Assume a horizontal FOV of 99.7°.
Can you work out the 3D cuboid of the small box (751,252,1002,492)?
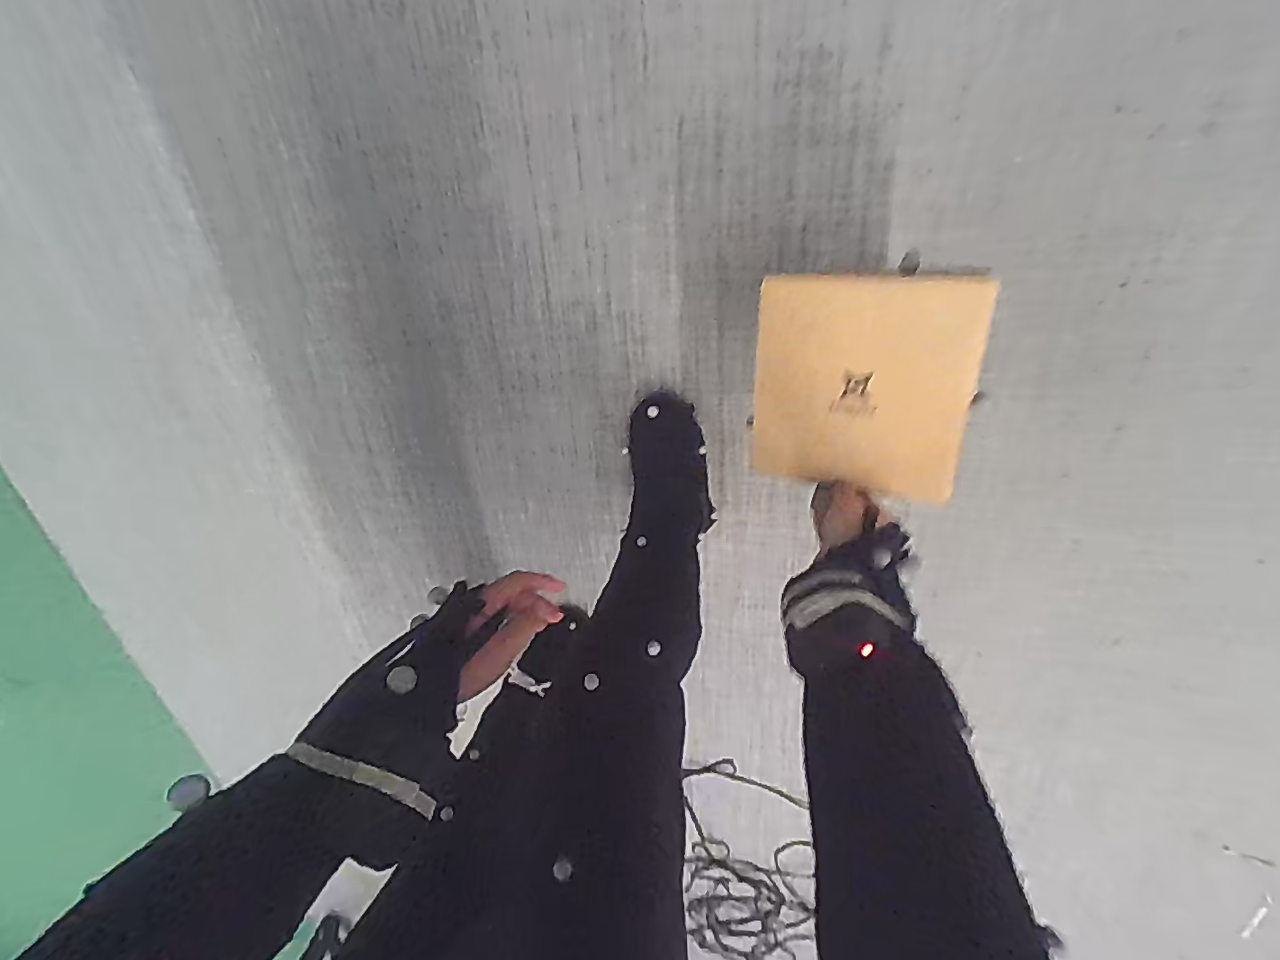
[{"bbox_3d":[0.208,-0.112,0.496,0.168,0.176,0.179,10,119,25],"label":"small box"}]
